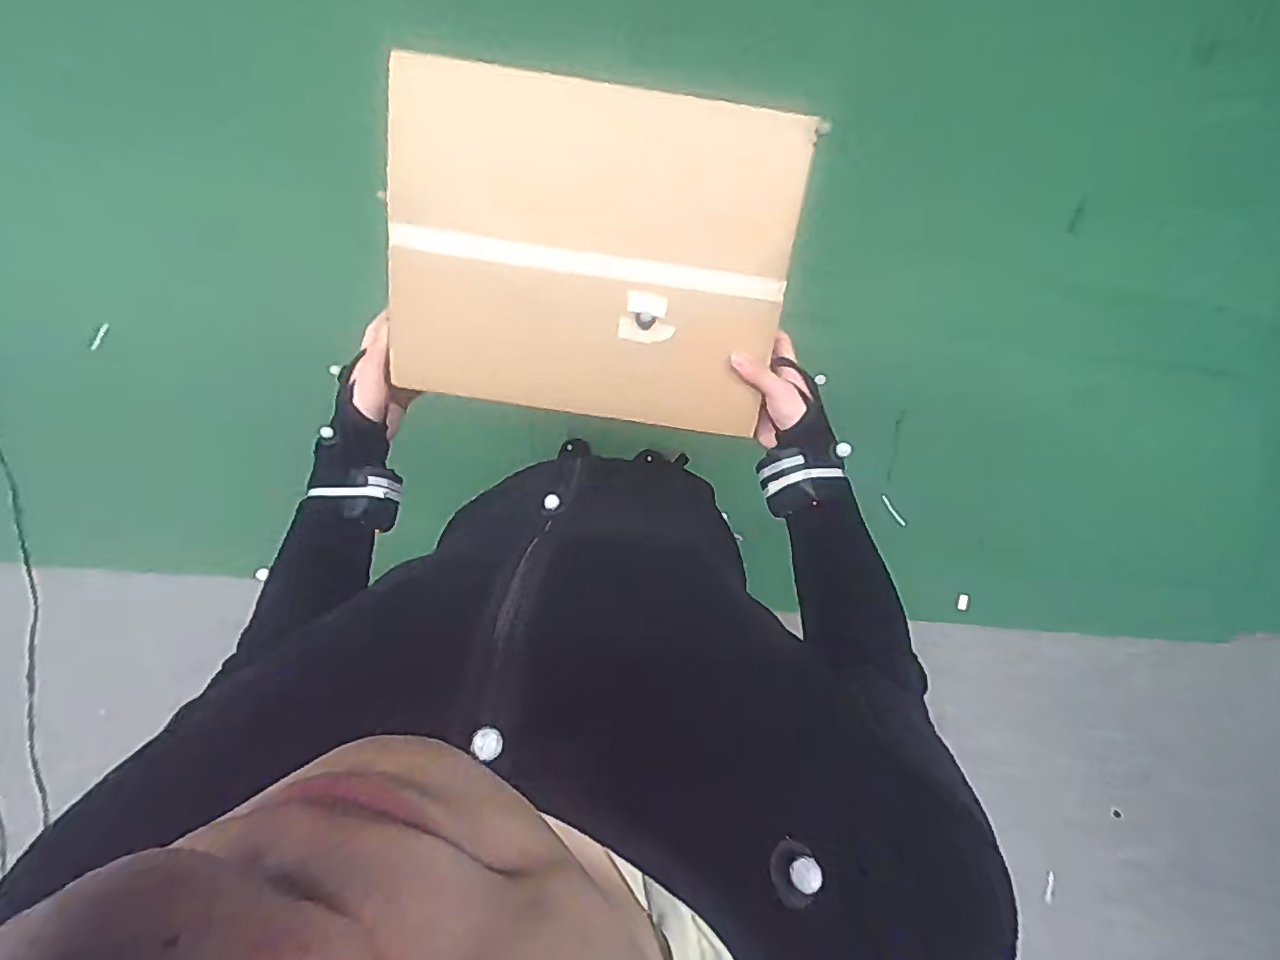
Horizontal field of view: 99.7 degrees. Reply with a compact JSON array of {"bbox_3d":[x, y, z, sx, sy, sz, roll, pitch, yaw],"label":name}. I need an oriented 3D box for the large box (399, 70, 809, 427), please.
[{"bbox_3d":[-0.049,-0.269,0.703,0.408,0.320,0.320,7,109,-2],"label":"large box"}]
